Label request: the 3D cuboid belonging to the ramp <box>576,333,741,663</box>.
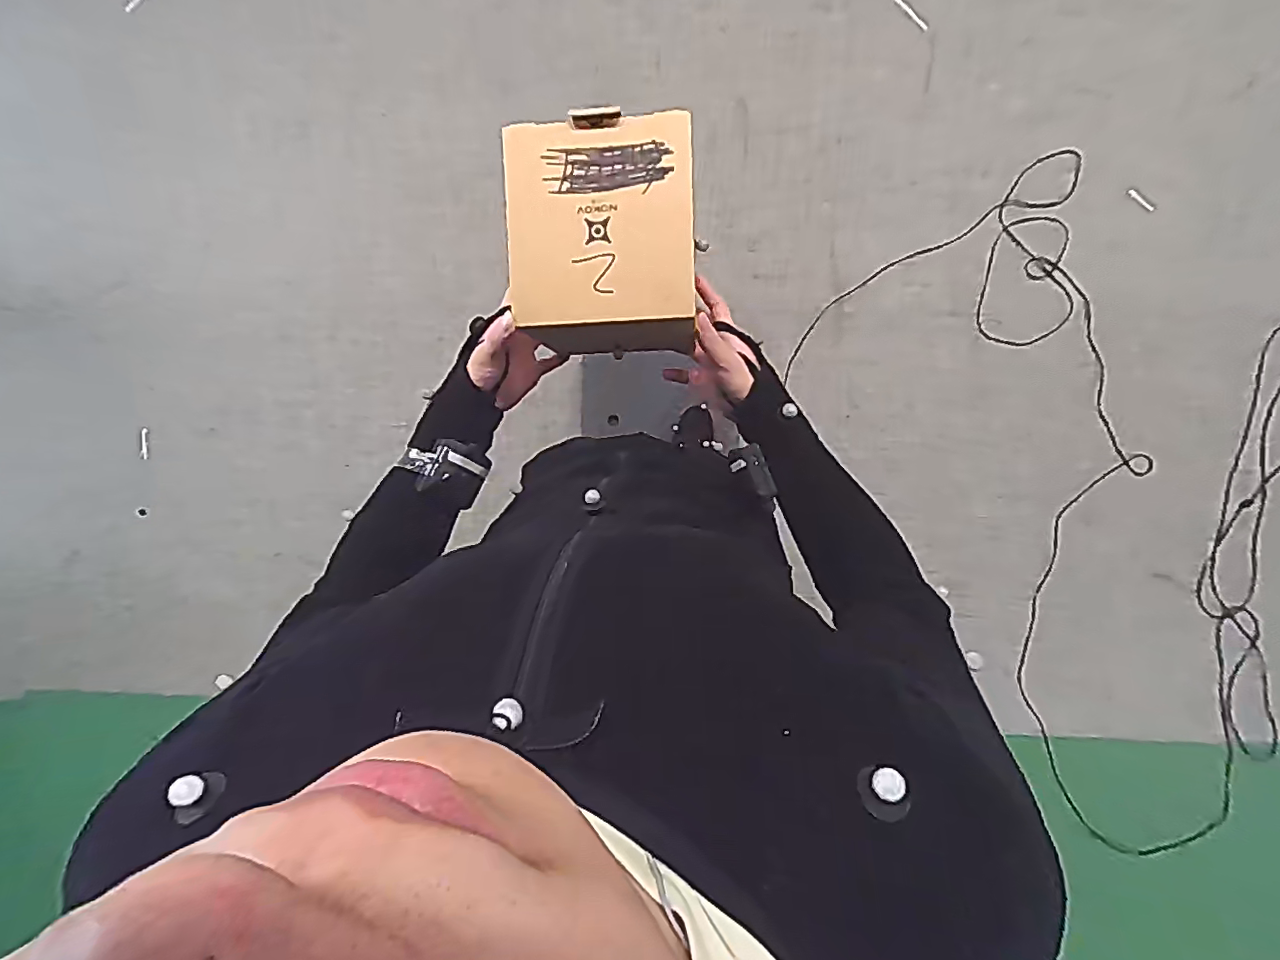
[{"bbox_3d":[0.055,0.037,1.641,0.509,0.206,0.991,-1,94,4],"label":"ramp"}]
